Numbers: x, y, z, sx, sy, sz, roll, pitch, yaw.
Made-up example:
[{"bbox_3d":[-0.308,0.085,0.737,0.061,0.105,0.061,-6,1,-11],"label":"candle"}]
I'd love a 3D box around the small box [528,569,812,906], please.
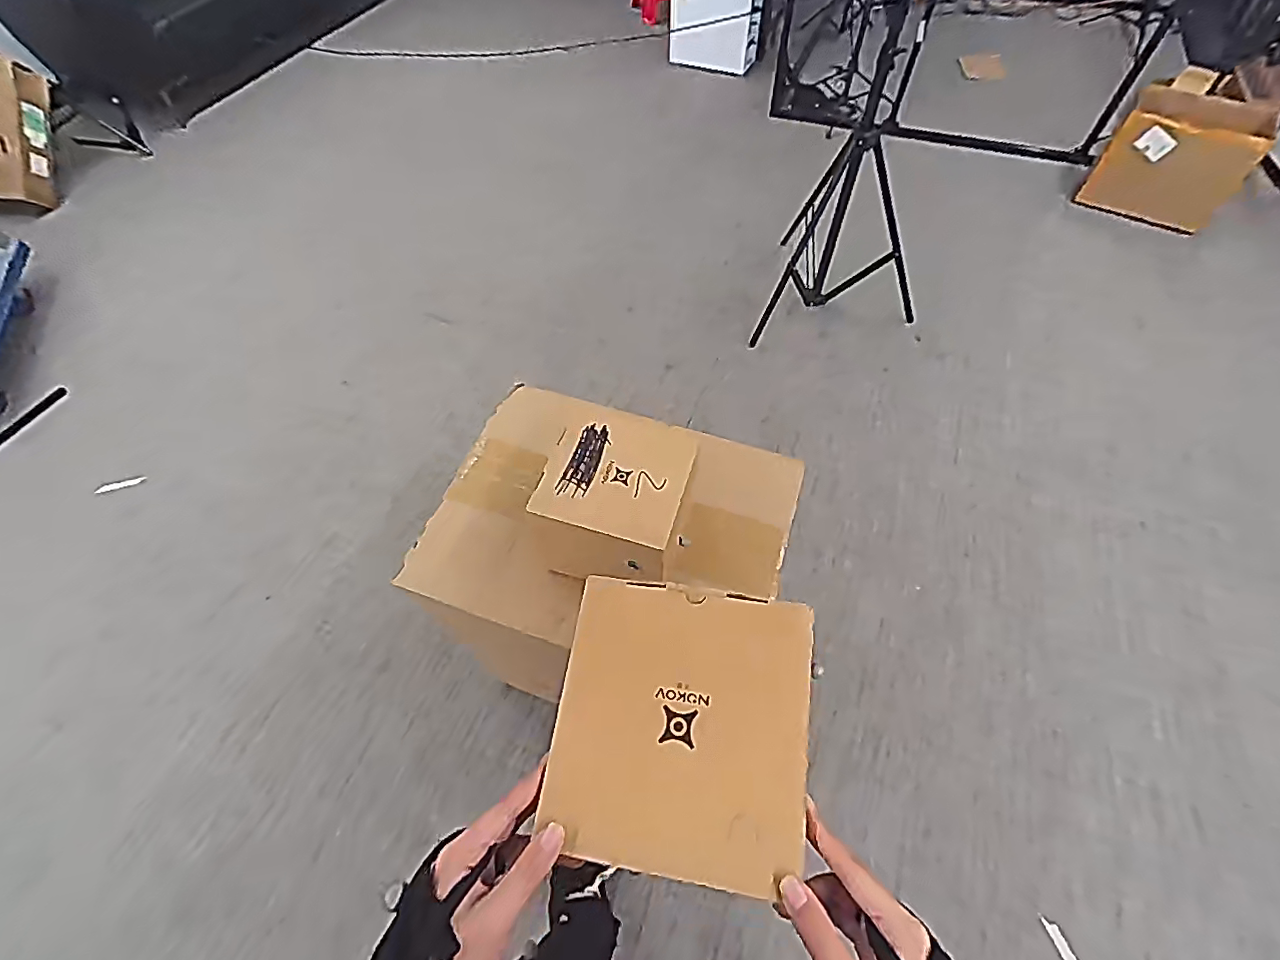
[{"bbox_3d":[0.034,0.186,0.418,0.168,0.176,0.179,6,64,10],"label":"small box"}]
